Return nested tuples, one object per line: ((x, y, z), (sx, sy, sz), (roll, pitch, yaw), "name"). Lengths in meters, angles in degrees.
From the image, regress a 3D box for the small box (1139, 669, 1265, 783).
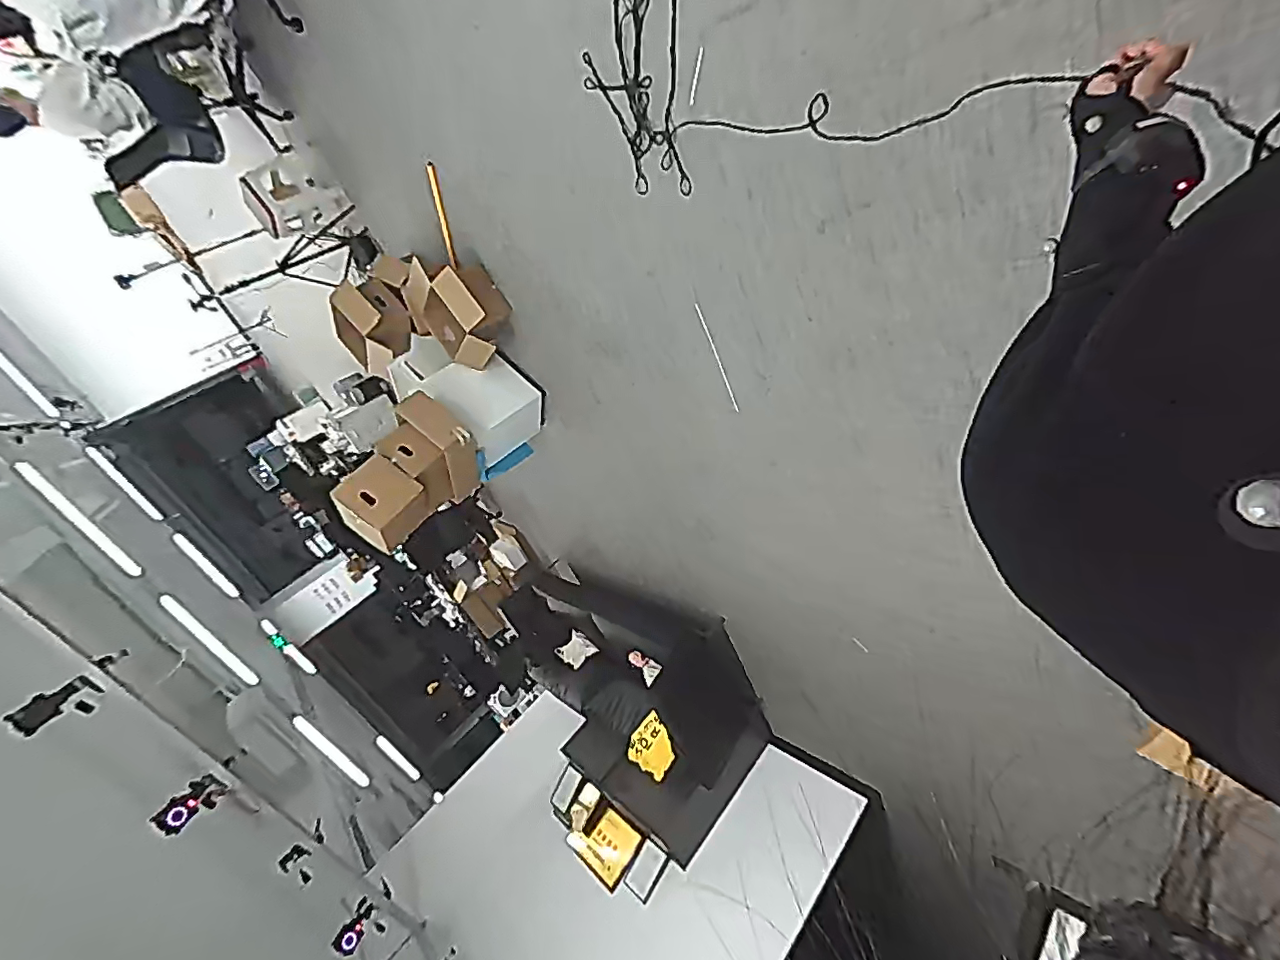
((1.445, 0.628, 1.391), (0.168, 0.176, 0.179), (27, 146, 35), "small box")
